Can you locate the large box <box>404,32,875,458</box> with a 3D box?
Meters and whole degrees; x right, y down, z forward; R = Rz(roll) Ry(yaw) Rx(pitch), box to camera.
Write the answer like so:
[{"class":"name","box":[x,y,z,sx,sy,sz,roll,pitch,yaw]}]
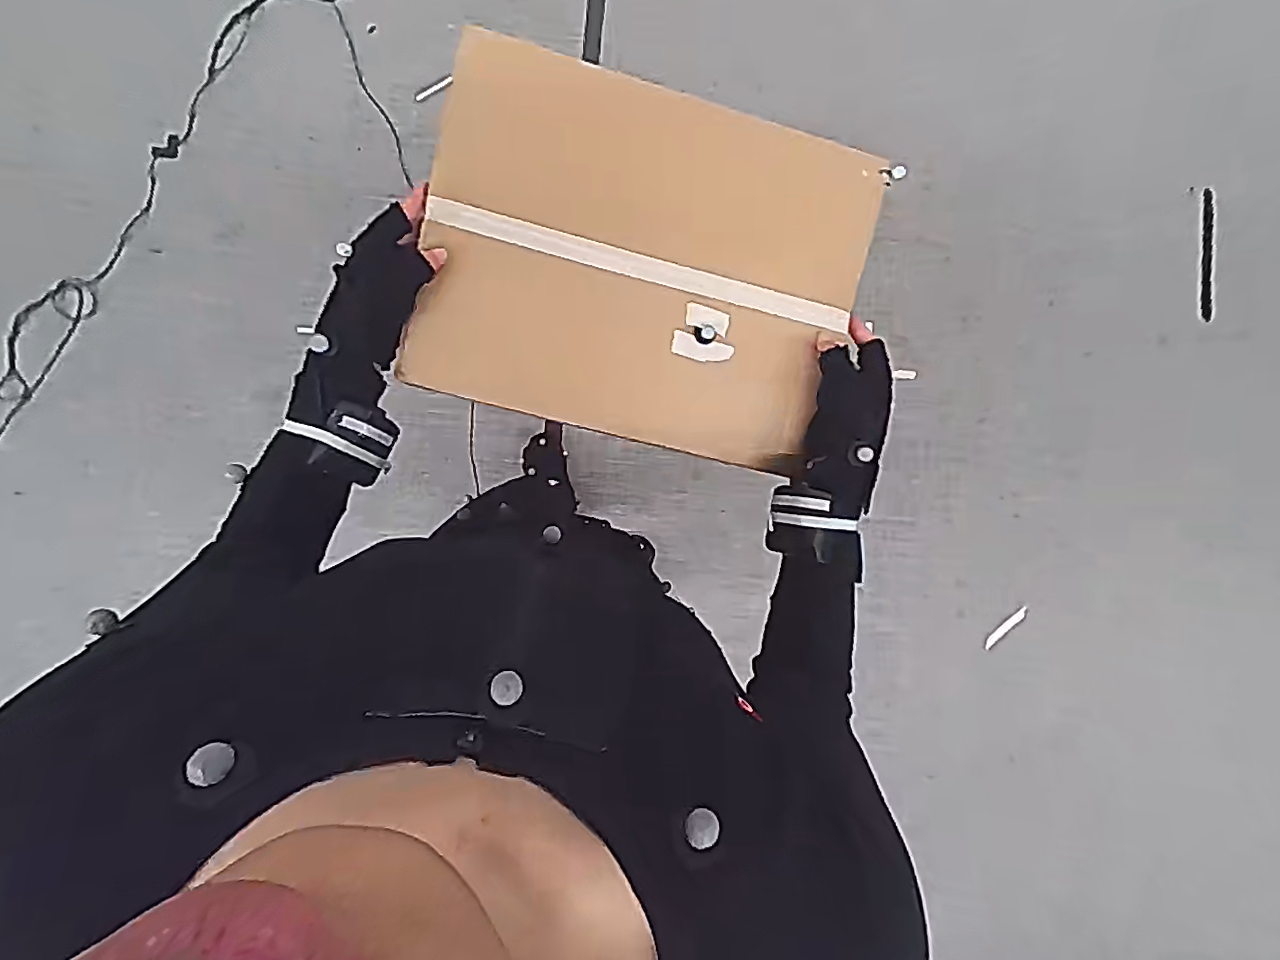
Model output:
[{"class":"large box","box":[-0.013,-0.224,0.655,0.408,0.320,0.320,12,96,-8]}]
